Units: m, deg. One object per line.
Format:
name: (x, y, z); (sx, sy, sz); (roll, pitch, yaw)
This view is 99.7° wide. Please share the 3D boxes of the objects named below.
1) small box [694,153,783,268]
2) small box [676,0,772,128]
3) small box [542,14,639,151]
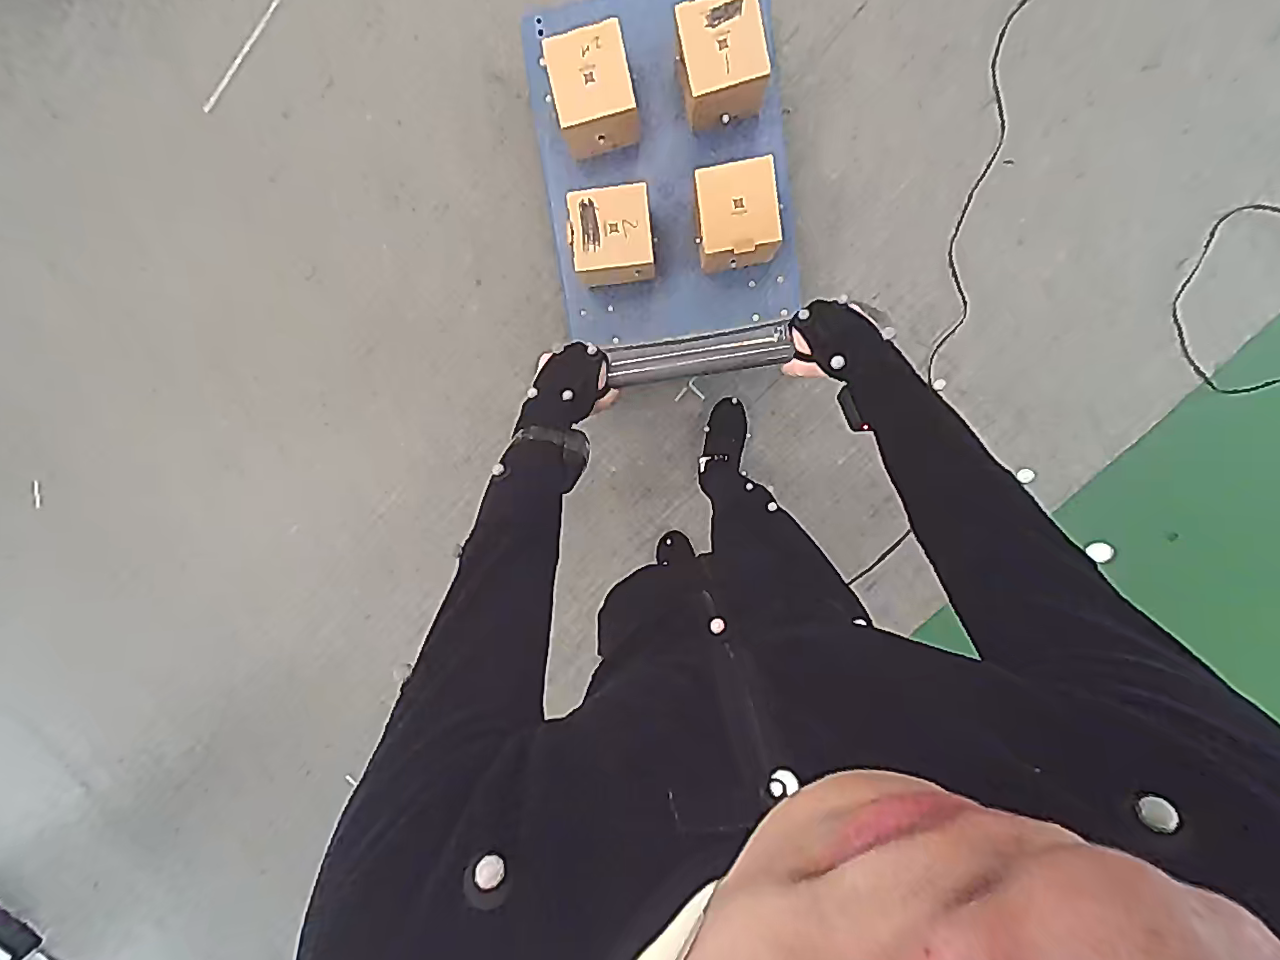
small box: (0.214, -0.594, 1.212); (0.168, 0.176, 0.179); (-8, 99, 5)
small box: (0.173, -0.904, 1.163); (0.168, 0.176, 0.179); (-13, 99, 6)
small box: (-0.100, -0.855, 1.188); (0.168, 0.176, 0.179); (-12, 99, 5)
